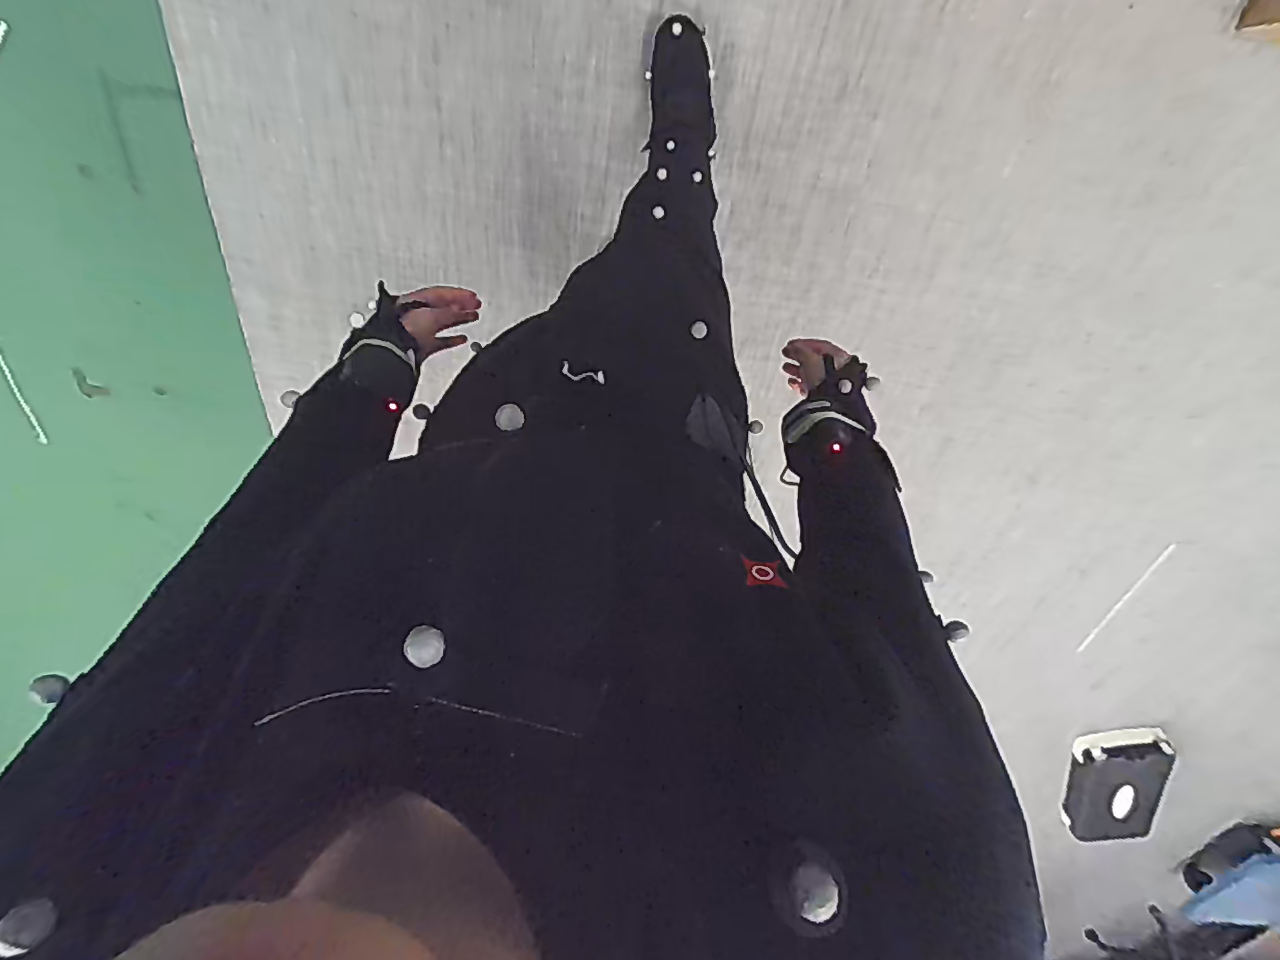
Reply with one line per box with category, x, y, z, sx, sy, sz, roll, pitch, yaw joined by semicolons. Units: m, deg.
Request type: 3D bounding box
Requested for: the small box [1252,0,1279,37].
small box;1.105;-0.771;0.809;0.168;0.176;0.179;13;123;-7
